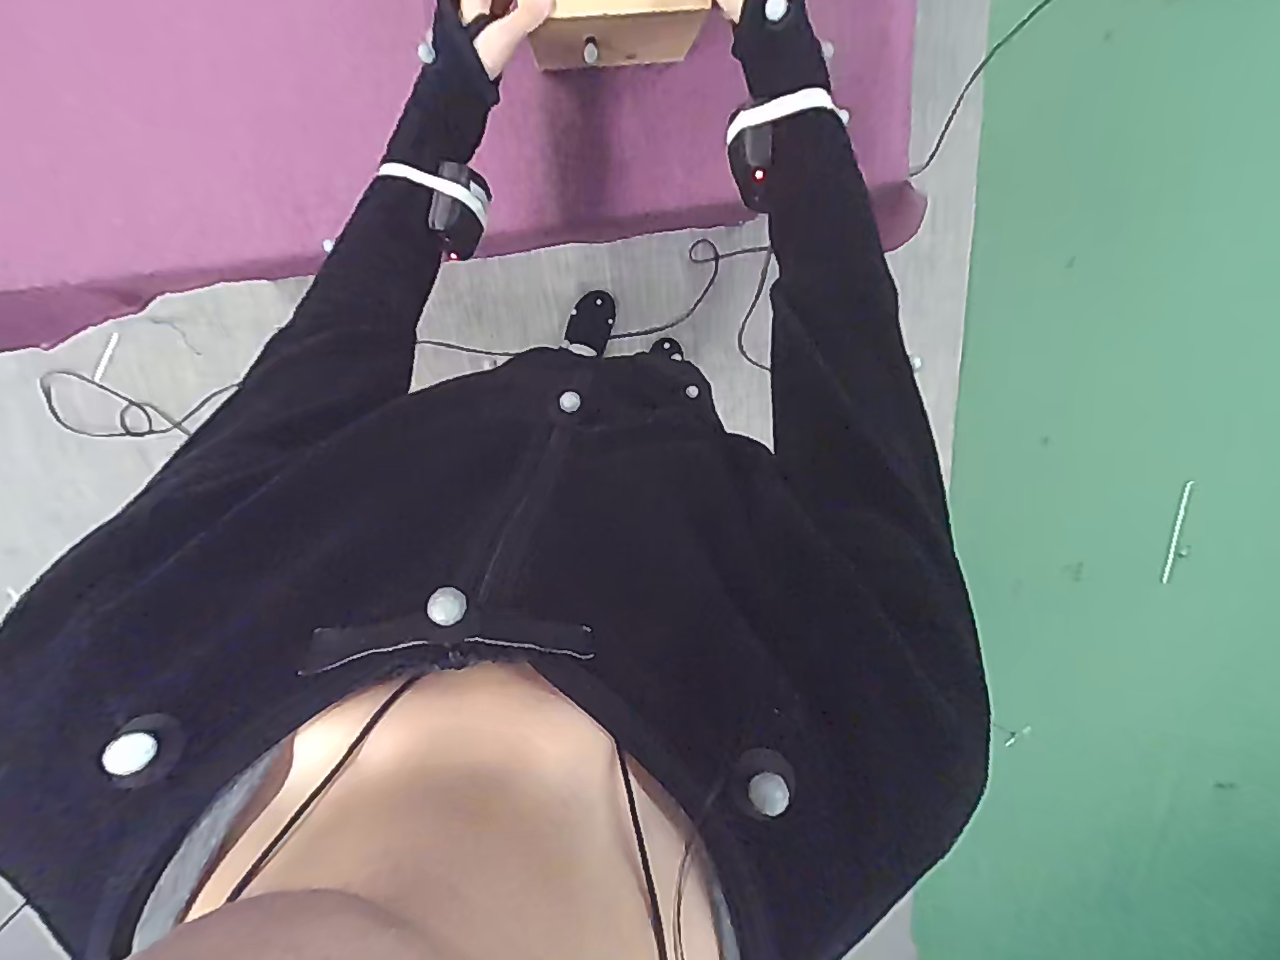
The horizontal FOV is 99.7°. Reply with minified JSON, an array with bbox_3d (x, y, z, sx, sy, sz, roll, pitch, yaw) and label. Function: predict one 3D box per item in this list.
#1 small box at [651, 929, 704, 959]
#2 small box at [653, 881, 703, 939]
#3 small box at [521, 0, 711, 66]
[{"bbox_3d":[0.141,1.763,1.950,0.179,0.176,0.168,0,109,-6],"label":"small box"},{"bbox_3d":[0.144,1.709,2.106,0.168,0.176,0.179,0,109,-6],"label":"small box"},{"bbox_3d":[-0.028,-0.509,0.498,0.168,0.176,0.179,-6,113,-3],"label":"small box"}]
